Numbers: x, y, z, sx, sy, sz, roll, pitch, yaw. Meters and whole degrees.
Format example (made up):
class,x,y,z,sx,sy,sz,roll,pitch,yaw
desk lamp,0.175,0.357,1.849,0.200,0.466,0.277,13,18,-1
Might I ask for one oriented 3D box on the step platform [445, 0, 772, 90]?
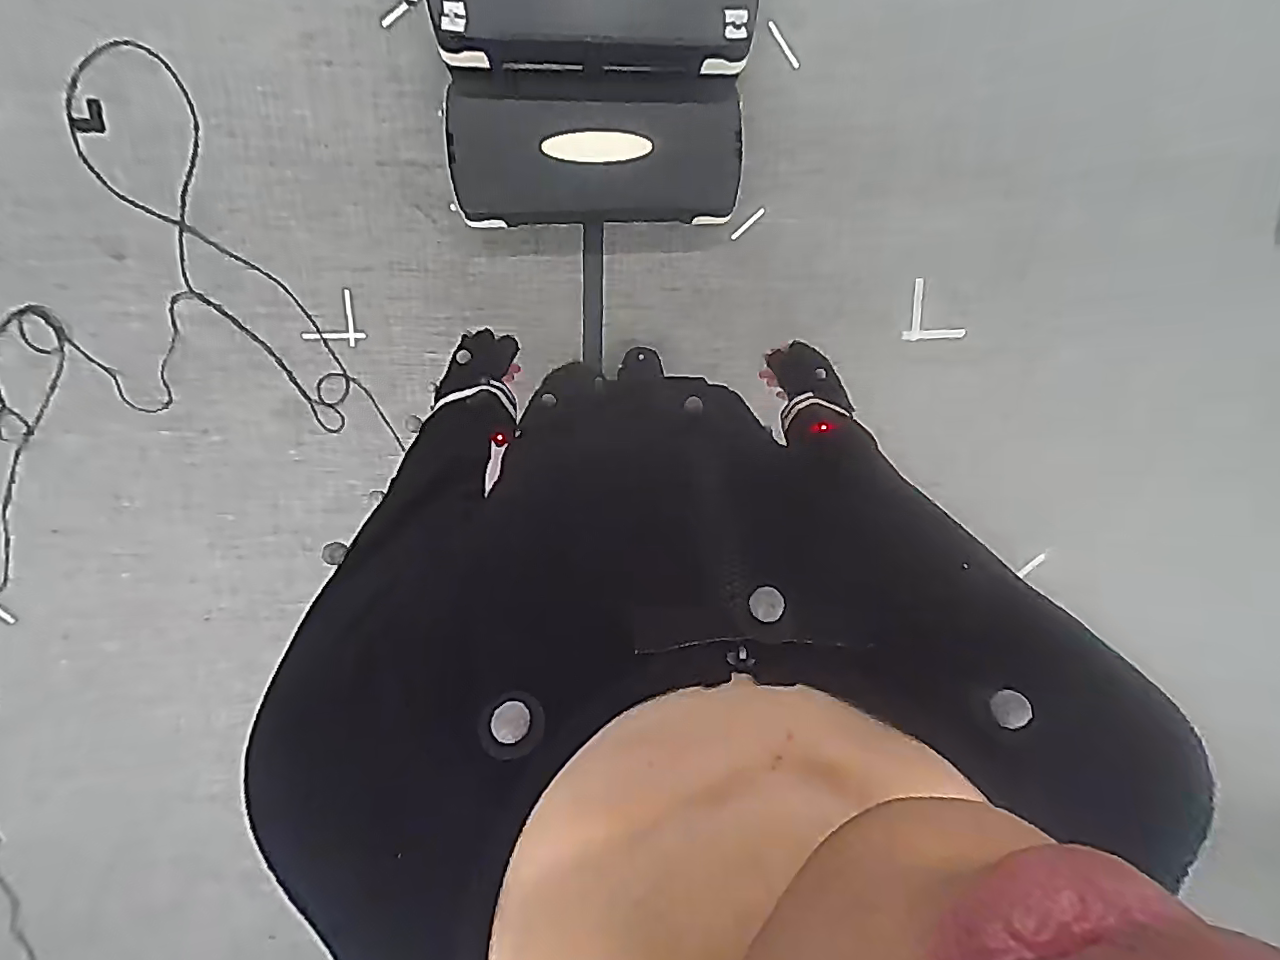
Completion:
class,x,y,z,sx,sy,sz,roll,pitch,yaw
step platform,-0.065,-1.033,1.145,0.684,0.204,0.286,-2,104,-5
